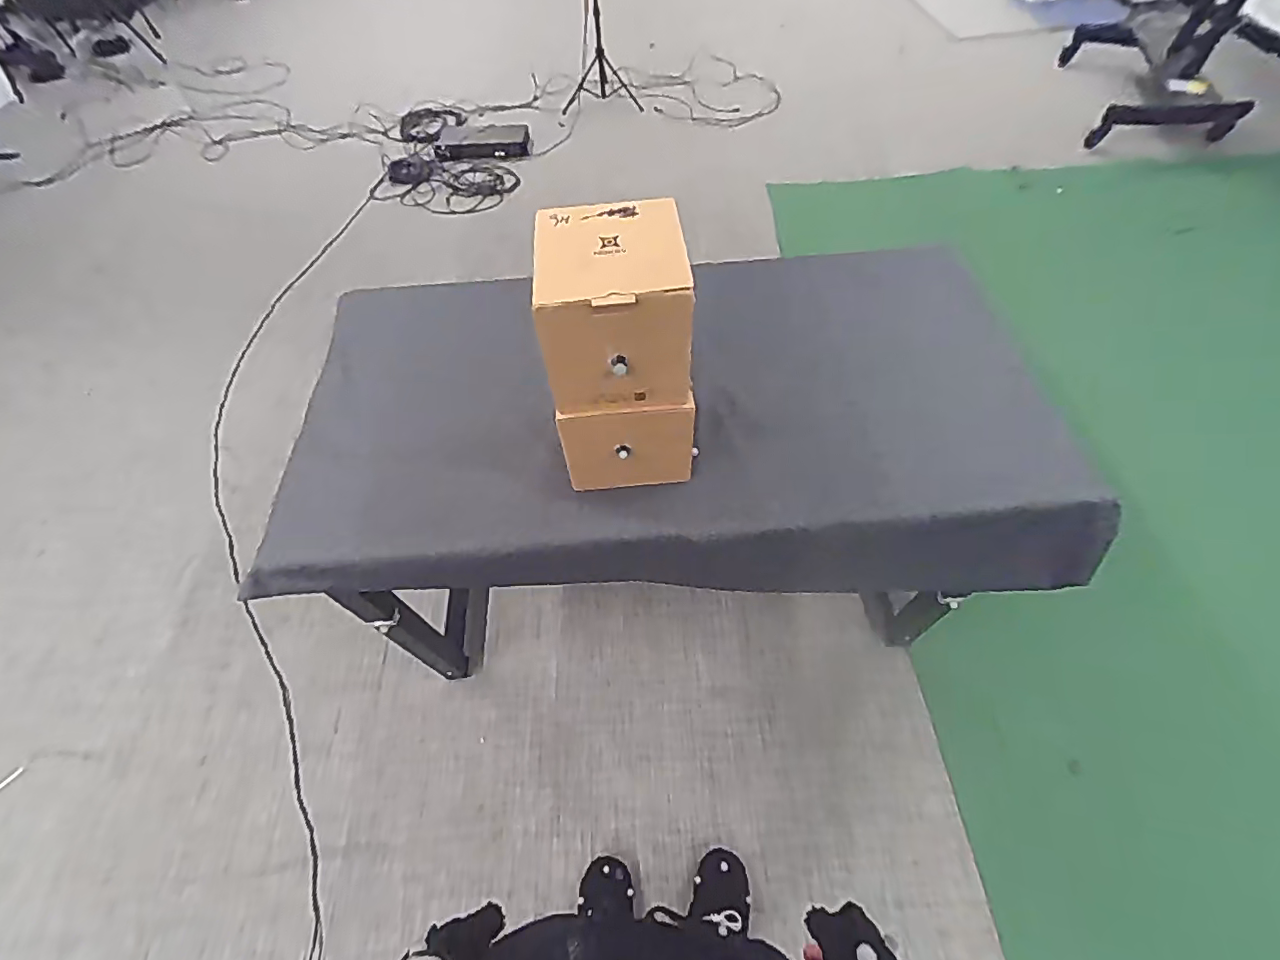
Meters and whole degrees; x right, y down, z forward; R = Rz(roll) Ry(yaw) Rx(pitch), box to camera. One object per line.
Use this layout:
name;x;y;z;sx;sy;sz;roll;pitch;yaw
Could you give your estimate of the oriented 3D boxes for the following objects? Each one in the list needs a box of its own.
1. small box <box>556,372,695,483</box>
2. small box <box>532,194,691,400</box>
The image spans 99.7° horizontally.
small box;-0.020;-0.110;0.781;0.179;0.176;0.168;-5;57;0
small box;-0.029;-0.210;0.652;0.168;0.176;0.179;-5;57;0
